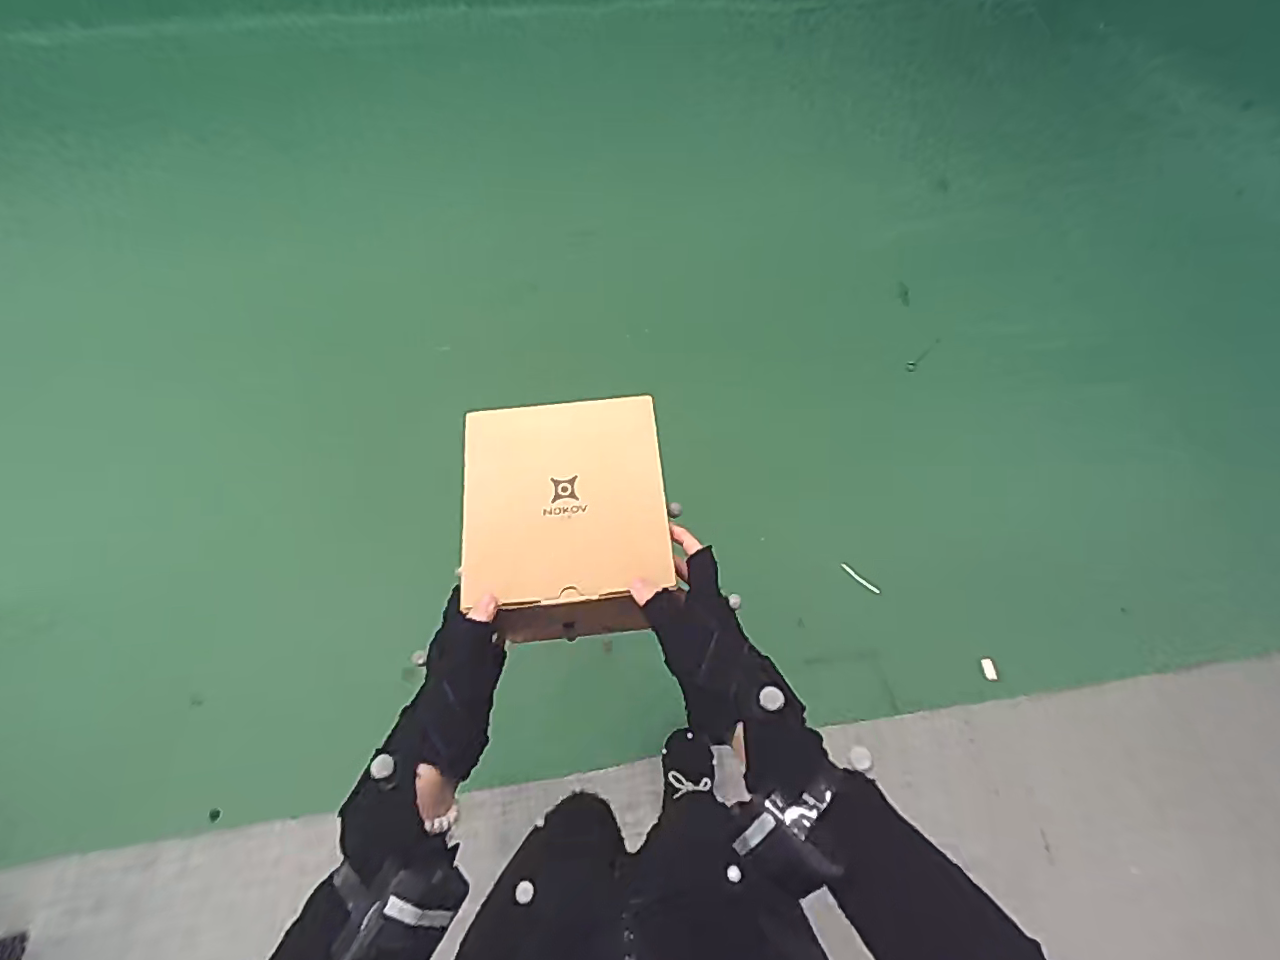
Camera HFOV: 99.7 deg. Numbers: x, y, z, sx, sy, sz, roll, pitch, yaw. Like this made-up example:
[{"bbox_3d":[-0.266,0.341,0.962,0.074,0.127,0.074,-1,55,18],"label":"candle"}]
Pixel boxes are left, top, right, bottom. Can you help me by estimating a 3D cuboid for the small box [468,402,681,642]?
[{"bbox_3d":[-0.058,0.048,0.519,0.168,0.176,0.179,-6,66,-3],"label":"small box"}]
